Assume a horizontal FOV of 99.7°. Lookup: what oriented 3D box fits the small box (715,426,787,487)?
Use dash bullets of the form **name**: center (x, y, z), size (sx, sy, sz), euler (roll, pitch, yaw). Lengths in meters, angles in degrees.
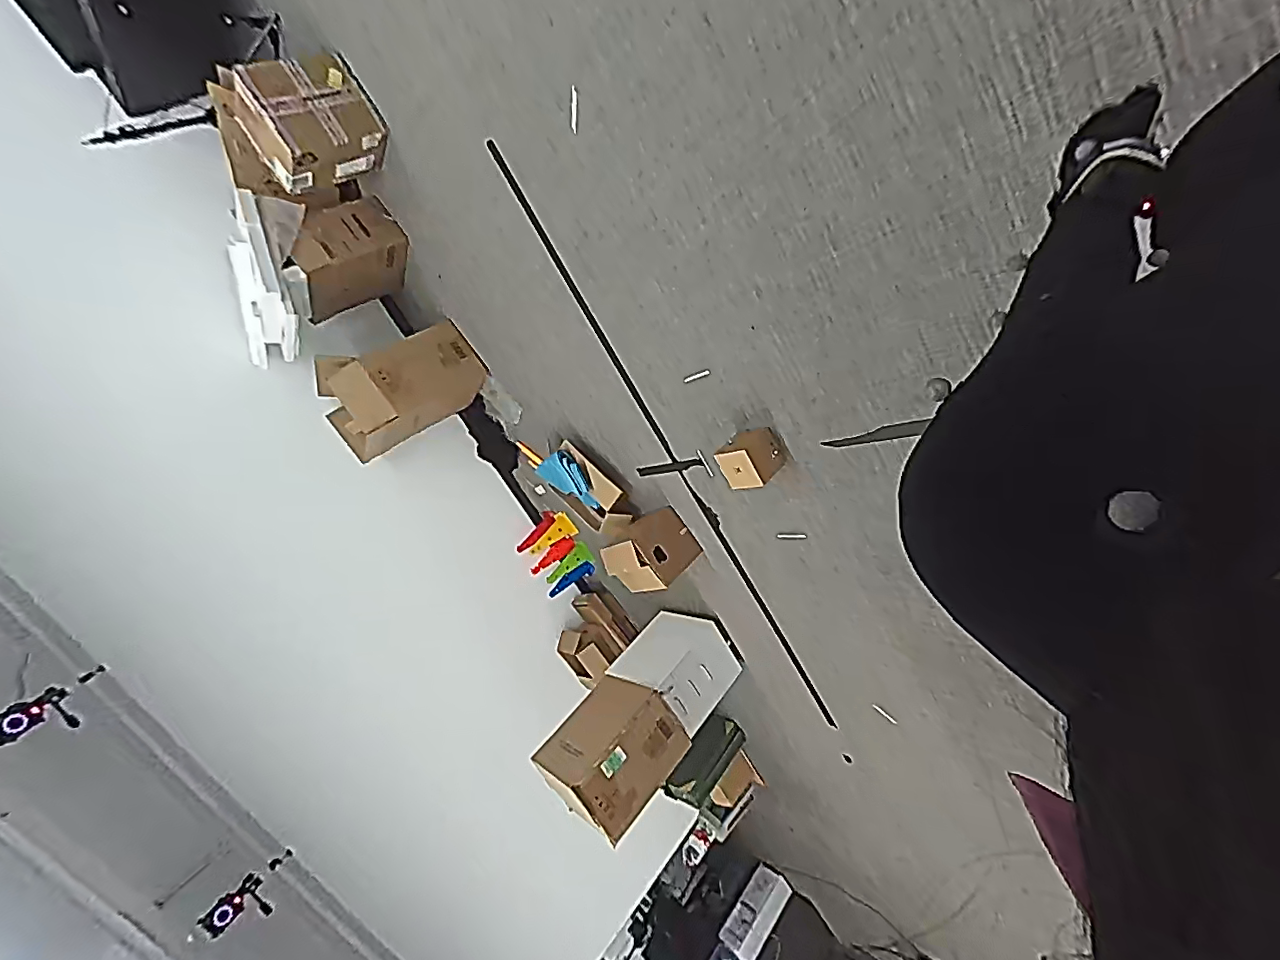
- **small box**: center (0.434, -0.090, 2.099), size (0.179, 0.176, 0.168), euler (-10, 116, 55)
